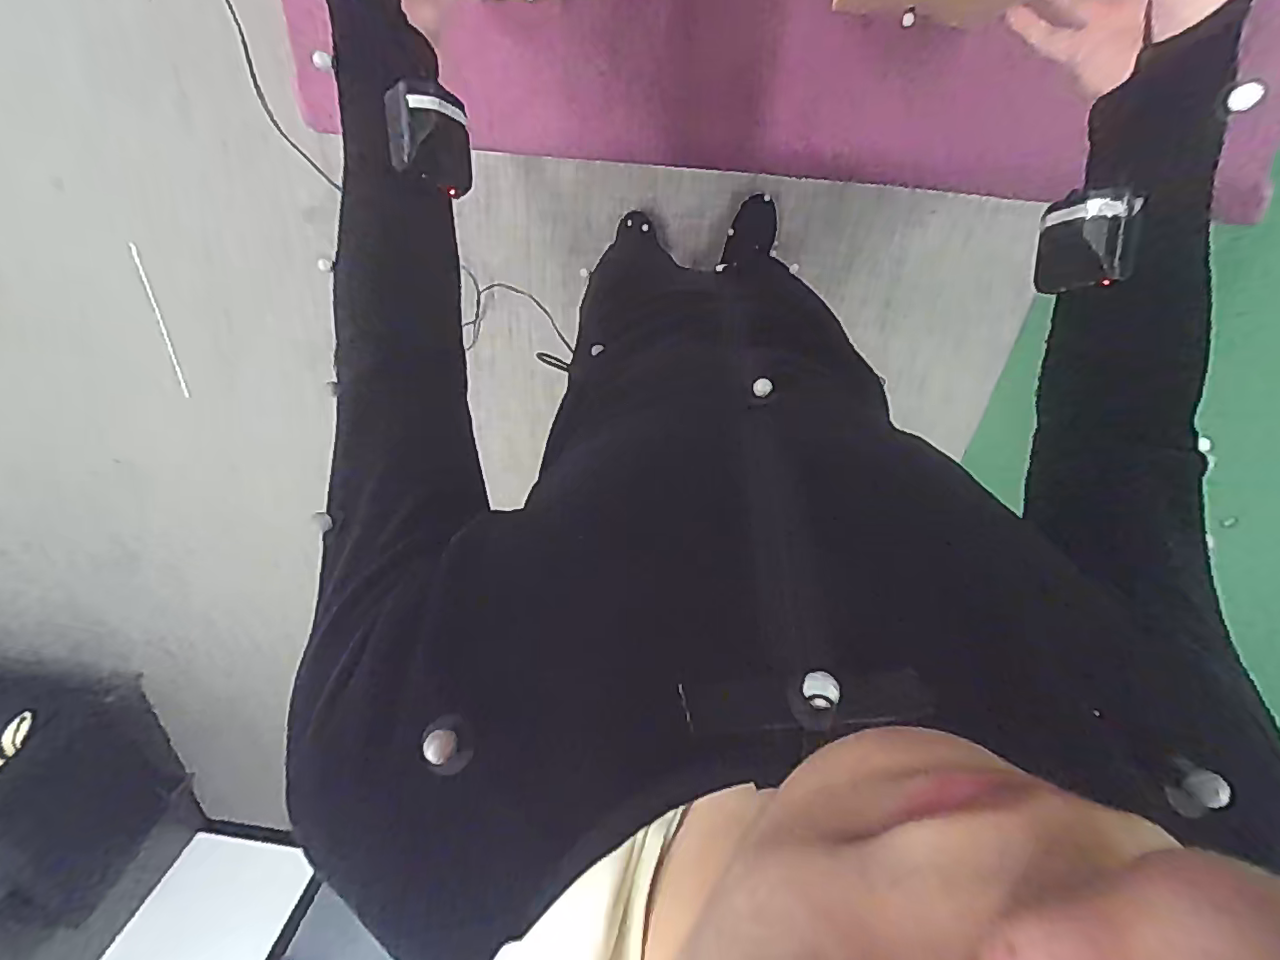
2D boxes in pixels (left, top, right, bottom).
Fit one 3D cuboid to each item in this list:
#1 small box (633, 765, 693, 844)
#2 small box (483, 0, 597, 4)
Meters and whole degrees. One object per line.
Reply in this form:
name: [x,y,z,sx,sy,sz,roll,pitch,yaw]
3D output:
small box: [0.082,1.129,1.889,0.179,0.176,0.168,13,120,-2]
small box: [-0.124,-0.602,0.525,0.168,0.176,0.179,4,119,5]
